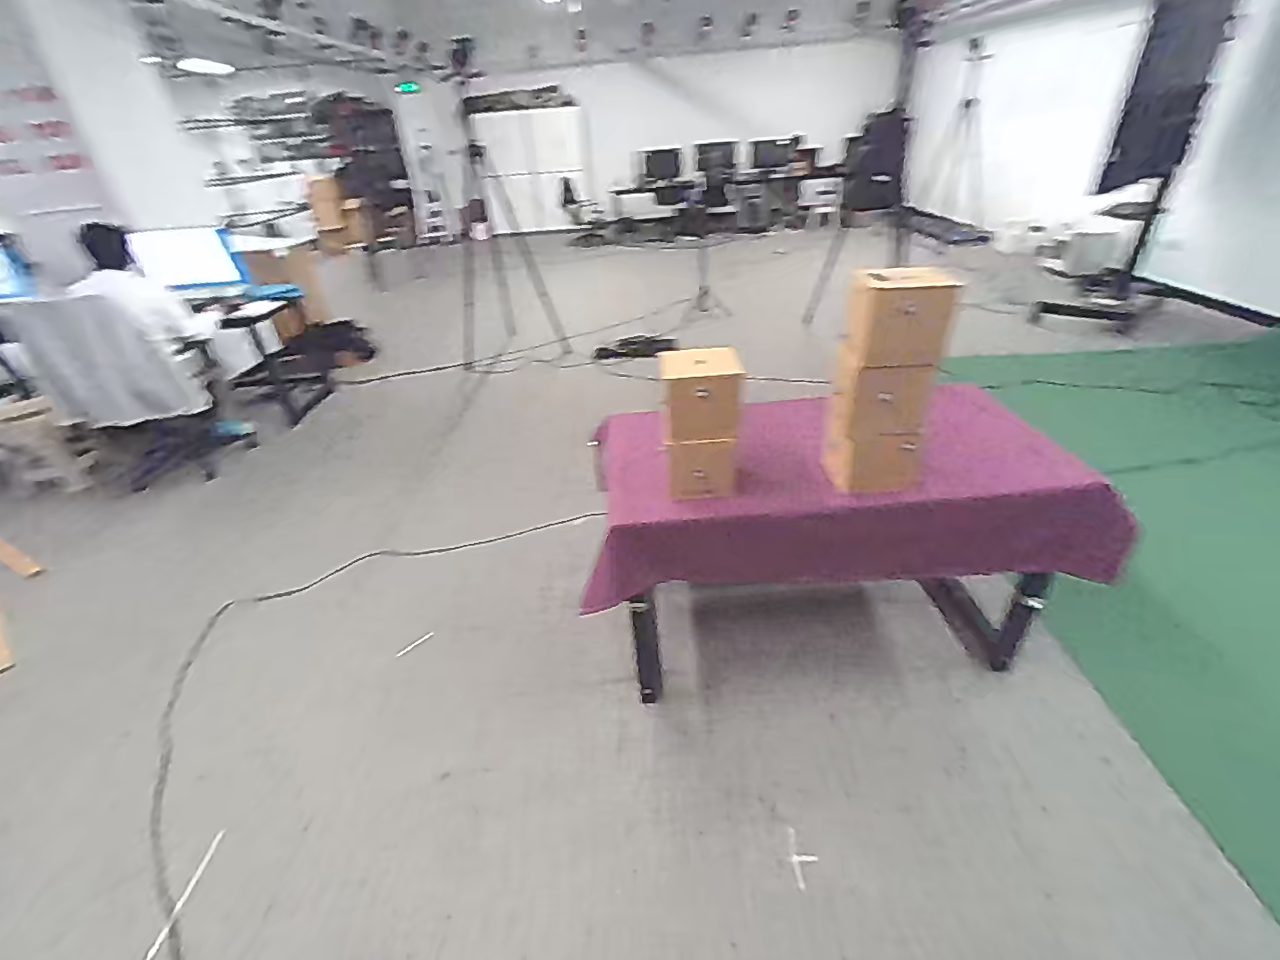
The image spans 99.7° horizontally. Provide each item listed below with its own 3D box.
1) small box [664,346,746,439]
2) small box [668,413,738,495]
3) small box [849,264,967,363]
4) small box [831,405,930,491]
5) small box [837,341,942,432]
[{"bbox_3d":[0.153,-0.207,1.294,0.179,0.176,0.168,-4,34,1],"label":"small box"},{"bbox_3d":[0.160,-0.070,1.383,0.168,0.176,0.179,-3,33,3],"label":"small box"},{"bbox_3d":[0.563,-0.358,1.166,0.179,0.176,0.168,-1,33,4],"label":"small box"},{"bbox_3d":[0.586,-0.084,1.347,0.179,0.176,0.168,-4,33,2],"label":"small box"},{"bbox_3d":[0.566,-0.220,1.258,0.179,0.176,0.168,-2,33,5],"label":"small box"}]
